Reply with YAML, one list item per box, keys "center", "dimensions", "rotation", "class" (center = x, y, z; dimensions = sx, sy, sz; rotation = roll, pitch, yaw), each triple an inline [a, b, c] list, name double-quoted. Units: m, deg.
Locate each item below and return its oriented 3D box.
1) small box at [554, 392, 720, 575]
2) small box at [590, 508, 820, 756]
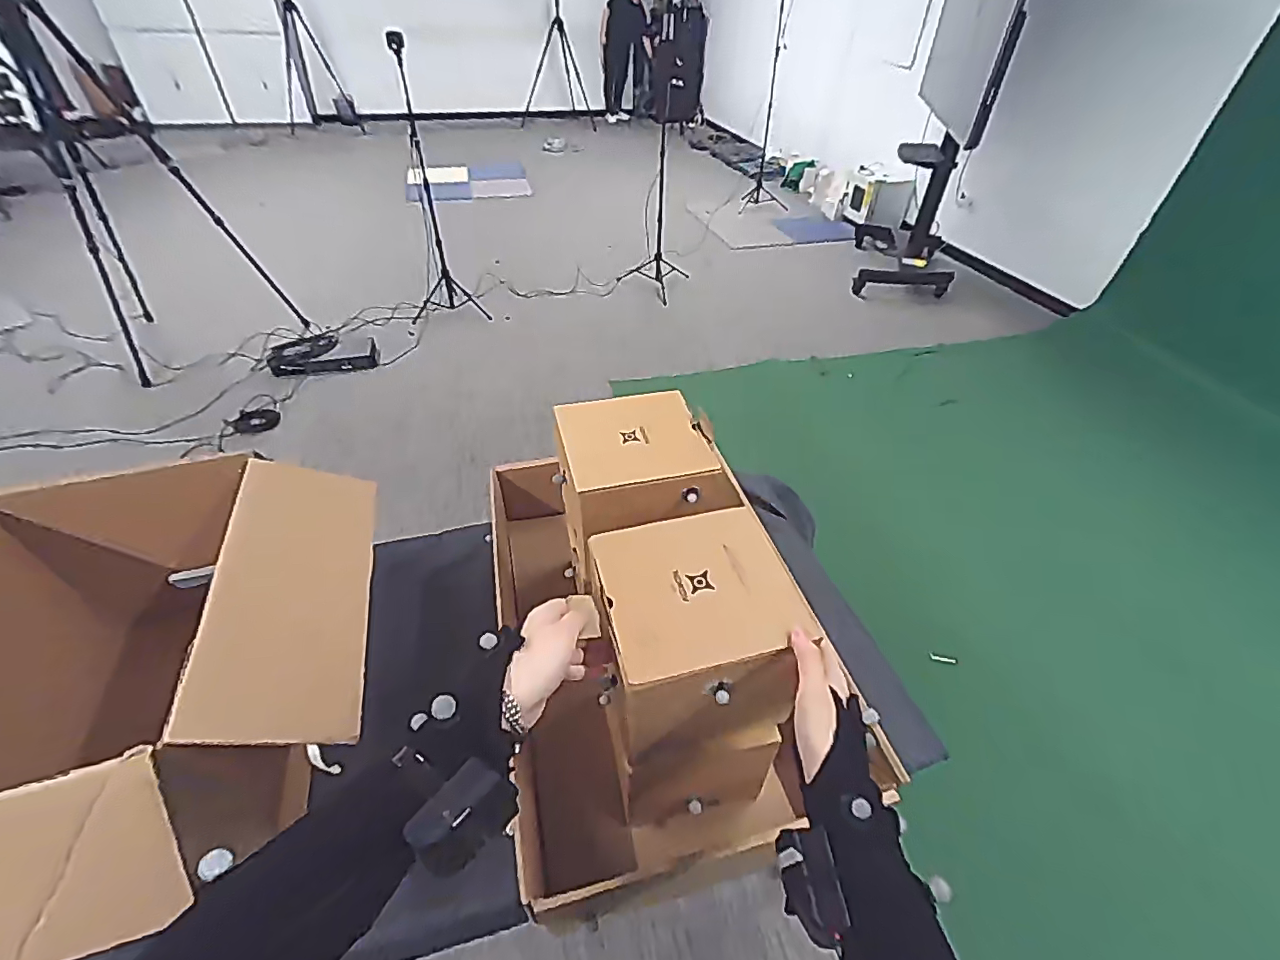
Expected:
- center: [-0.010, 0.007, 0.721]
  dimensions: [0.179, 0.176, 0.168]
  rotation: [-9, 46, -12]
  class: "small box"
- center: [0.053, 0.156, 0.558]
  dimensions: [0.179, 0.176, 0.168]
  rotation: [-10, 44, -13]
  class: "small box"
